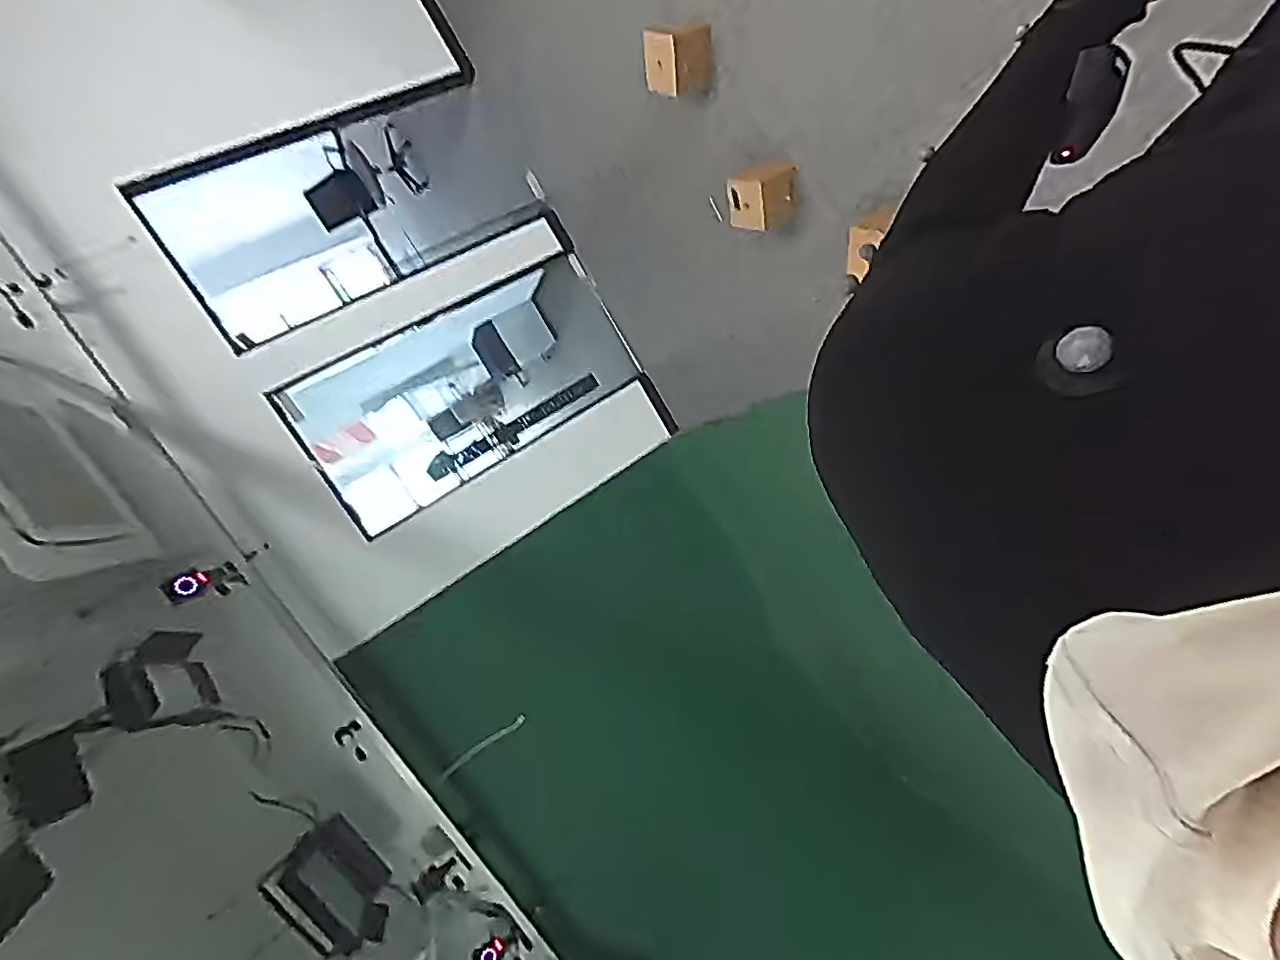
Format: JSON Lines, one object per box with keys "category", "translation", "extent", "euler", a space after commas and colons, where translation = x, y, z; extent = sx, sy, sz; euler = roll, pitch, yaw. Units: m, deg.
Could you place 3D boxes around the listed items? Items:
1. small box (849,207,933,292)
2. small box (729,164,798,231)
{"category": "small box", "translation": [0.774, -0.715, 1.673], "extent": [0.168, 0.176, 0.179], "euler": [40, 154, 41]}
{"category": "small box", "translation": [0.451, -1.027, 1.959], "extent": [0.179, 0.176, 0.168], "euler": [37, 154, 44]}
